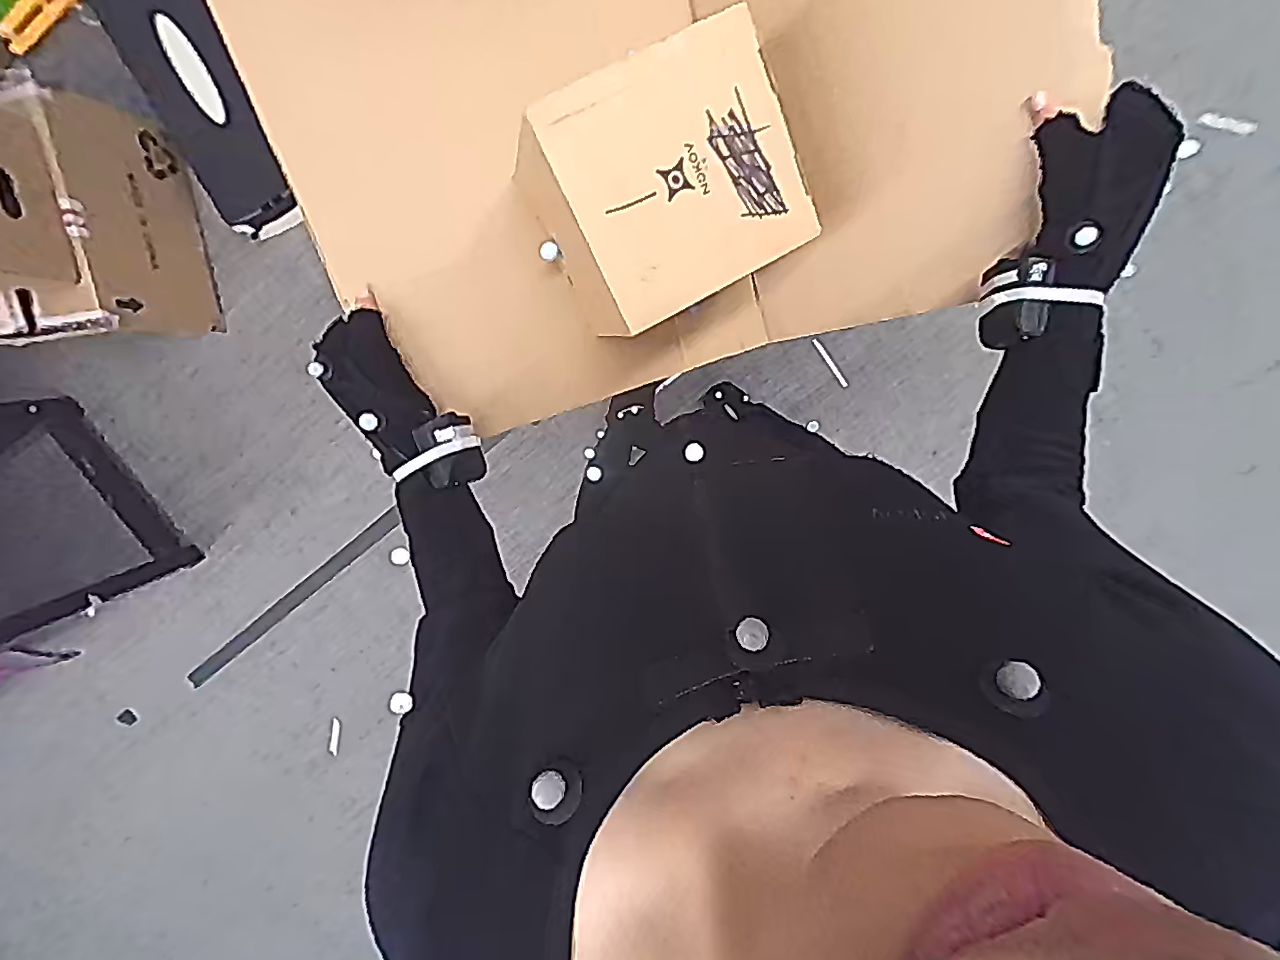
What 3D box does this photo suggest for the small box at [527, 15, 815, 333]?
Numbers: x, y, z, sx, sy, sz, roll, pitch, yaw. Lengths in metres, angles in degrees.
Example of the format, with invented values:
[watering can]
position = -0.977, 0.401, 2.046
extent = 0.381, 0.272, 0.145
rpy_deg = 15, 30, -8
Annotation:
[small box]
position = 0.015, -0.243, 0.475
extent = 0.179, 0.176, 0.168
rpy_deg = -28, 110, -5
